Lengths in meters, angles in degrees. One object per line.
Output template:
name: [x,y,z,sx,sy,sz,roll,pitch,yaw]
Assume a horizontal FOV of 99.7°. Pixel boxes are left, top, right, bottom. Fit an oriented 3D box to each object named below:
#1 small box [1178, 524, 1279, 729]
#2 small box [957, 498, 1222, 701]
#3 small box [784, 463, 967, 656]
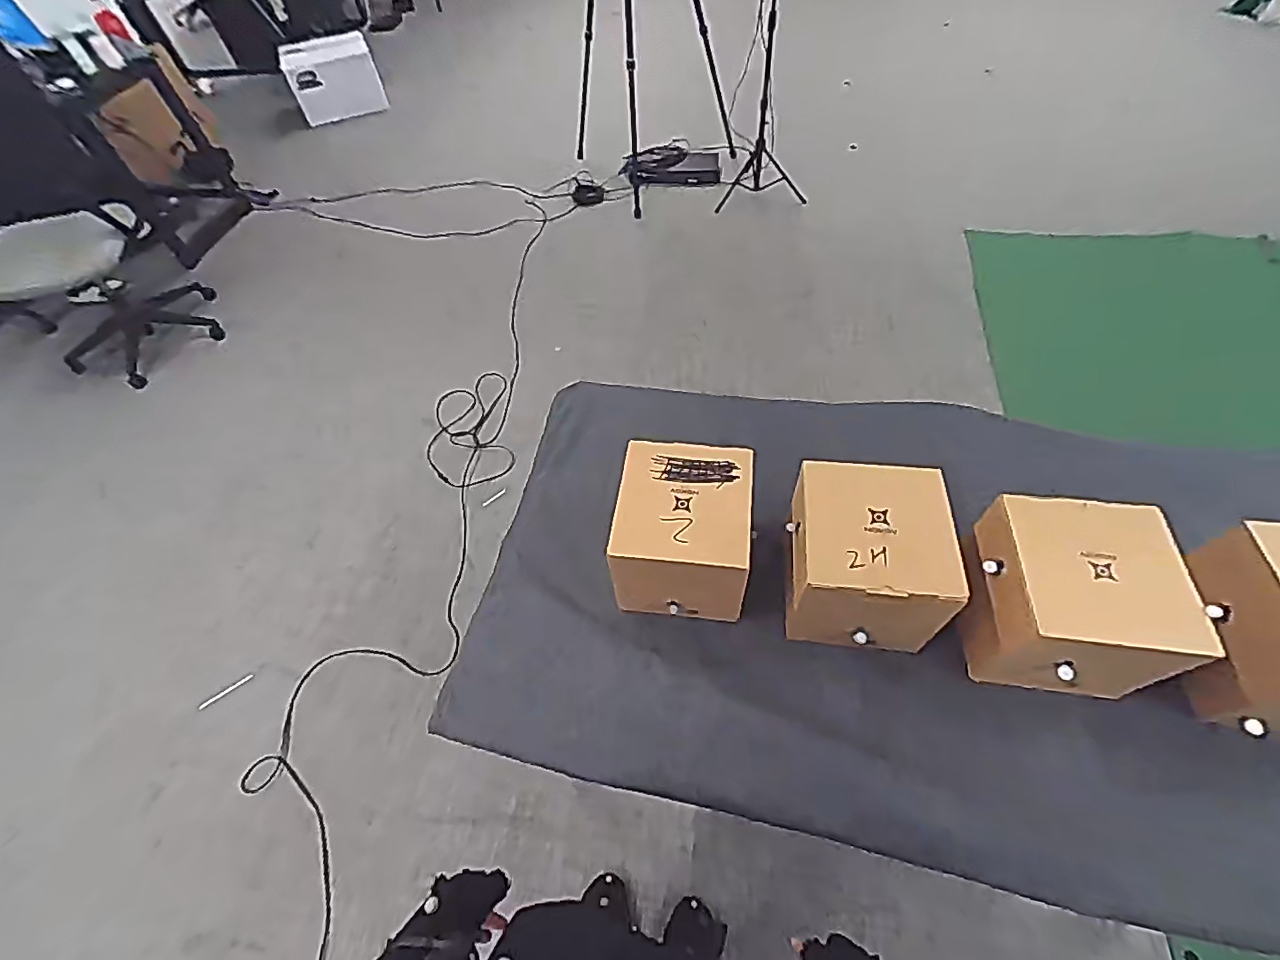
small box: [0.726,0.170,0.591,0.168,0.176,0.179,5,54,8]
small box: [0.491,0.144,0.635,0.168,0.176,0.179,5,54,9]
small box: [0.277,0.101,0.683,0.168,0.176,0.179,4,54,9]
